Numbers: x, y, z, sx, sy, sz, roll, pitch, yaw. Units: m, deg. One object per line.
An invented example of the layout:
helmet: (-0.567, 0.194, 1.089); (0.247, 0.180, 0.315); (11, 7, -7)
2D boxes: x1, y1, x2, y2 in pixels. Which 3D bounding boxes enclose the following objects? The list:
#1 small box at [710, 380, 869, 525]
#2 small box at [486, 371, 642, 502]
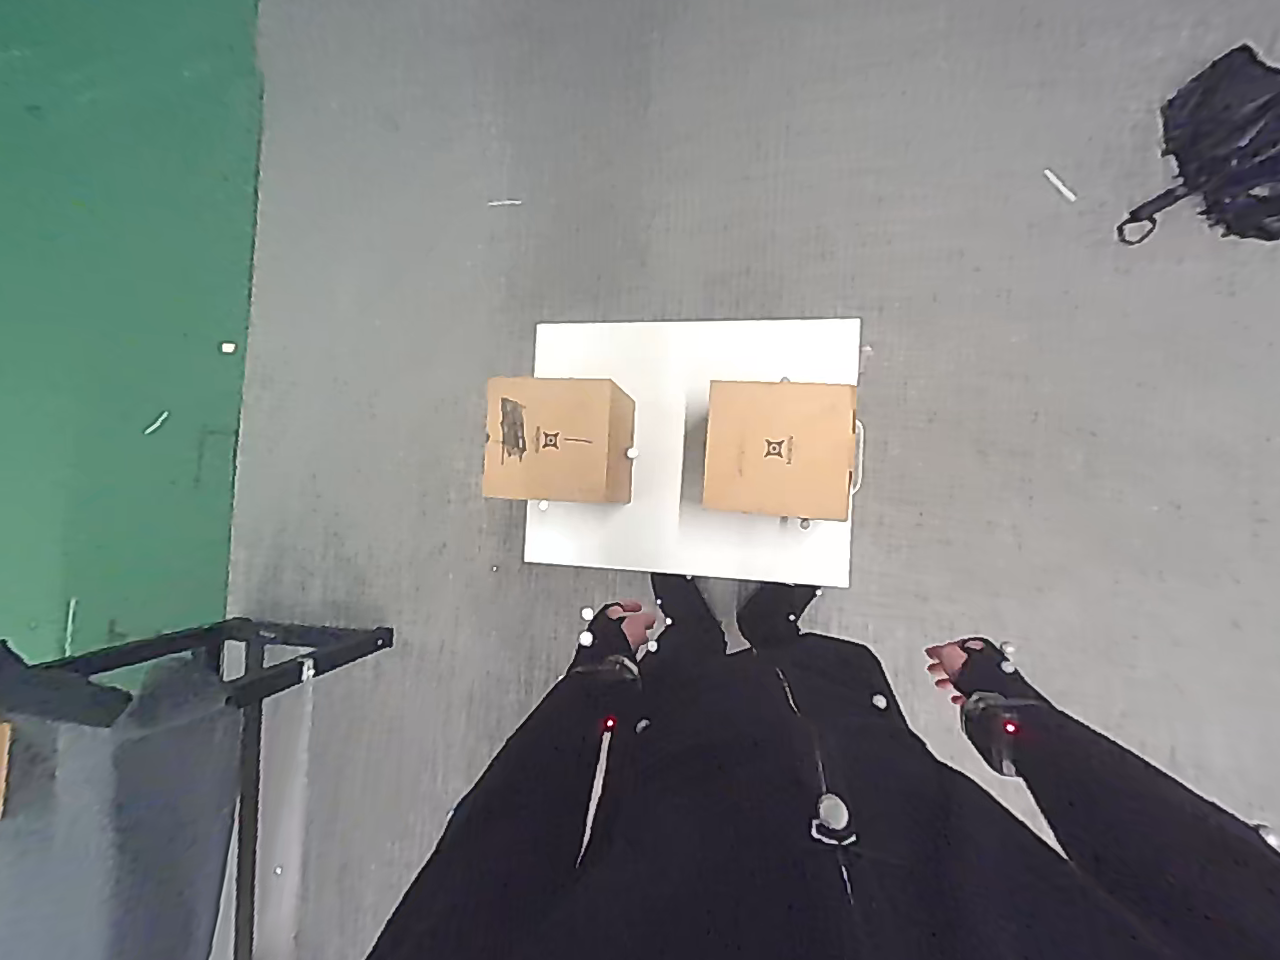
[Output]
small box: (0.193, -0.032, 0.725); (0.179, 0.176, 0.168); (4, 88, 13)
small box: (-0.101, -0.055, 0.780); (0.179, 0.176, 0.168); (4, 89, 9)
